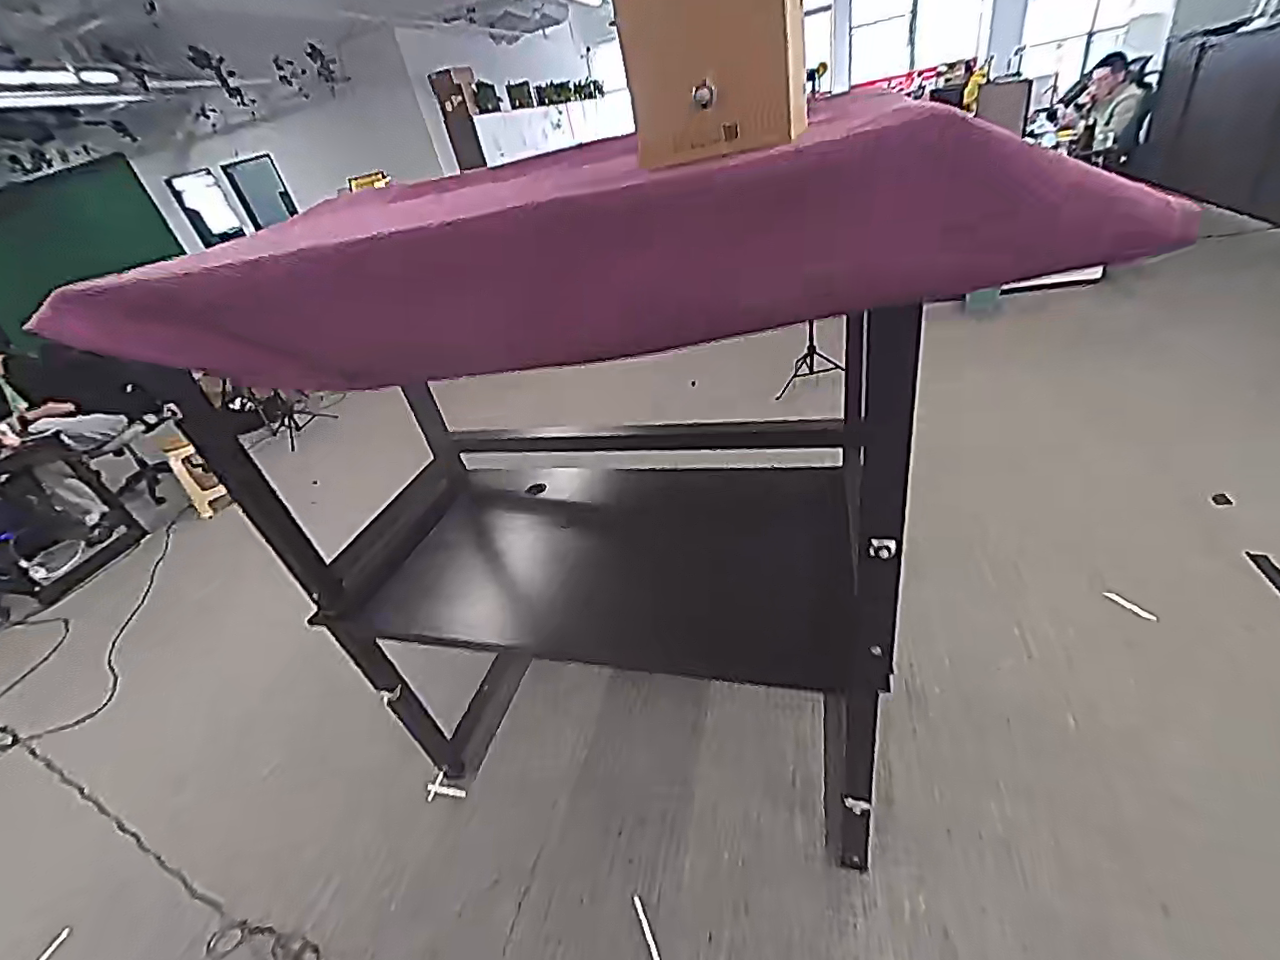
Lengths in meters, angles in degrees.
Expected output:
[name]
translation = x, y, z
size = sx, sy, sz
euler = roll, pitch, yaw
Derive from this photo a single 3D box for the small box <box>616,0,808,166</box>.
[small box]
translation = 0.088, -0.453, 0.583
size = 0.168, 0.176, 0.179
euler = 1, 36, 23
